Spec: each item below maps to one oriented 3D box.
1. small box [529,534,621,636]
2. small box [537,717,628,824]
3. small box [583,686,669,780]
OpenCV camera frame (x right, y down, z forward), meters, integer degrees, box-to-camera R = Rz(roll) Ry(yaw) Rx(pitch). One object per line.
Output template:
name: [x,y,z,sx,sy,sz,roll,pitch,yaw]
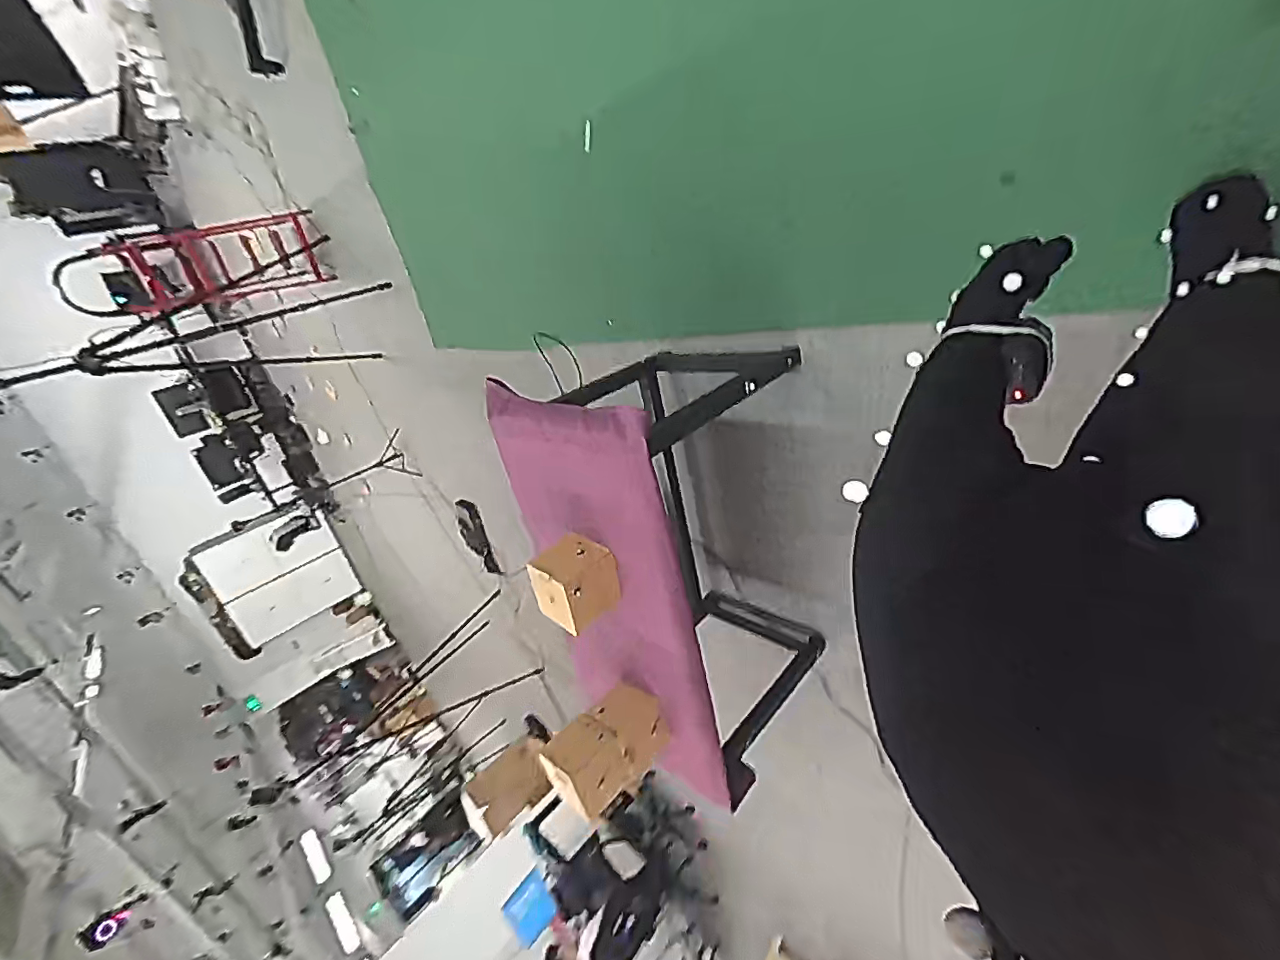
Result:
small box: [-0.168,0.276,1.453,0.168,0.176,0.179,19,129,42]
small box: [-0.162,0.823,1.552,0.168,0.176,0.179,10,122,49]
small box: [-0.041,0.759,1.648,0.179,0.176,0.168,5,119,49]
